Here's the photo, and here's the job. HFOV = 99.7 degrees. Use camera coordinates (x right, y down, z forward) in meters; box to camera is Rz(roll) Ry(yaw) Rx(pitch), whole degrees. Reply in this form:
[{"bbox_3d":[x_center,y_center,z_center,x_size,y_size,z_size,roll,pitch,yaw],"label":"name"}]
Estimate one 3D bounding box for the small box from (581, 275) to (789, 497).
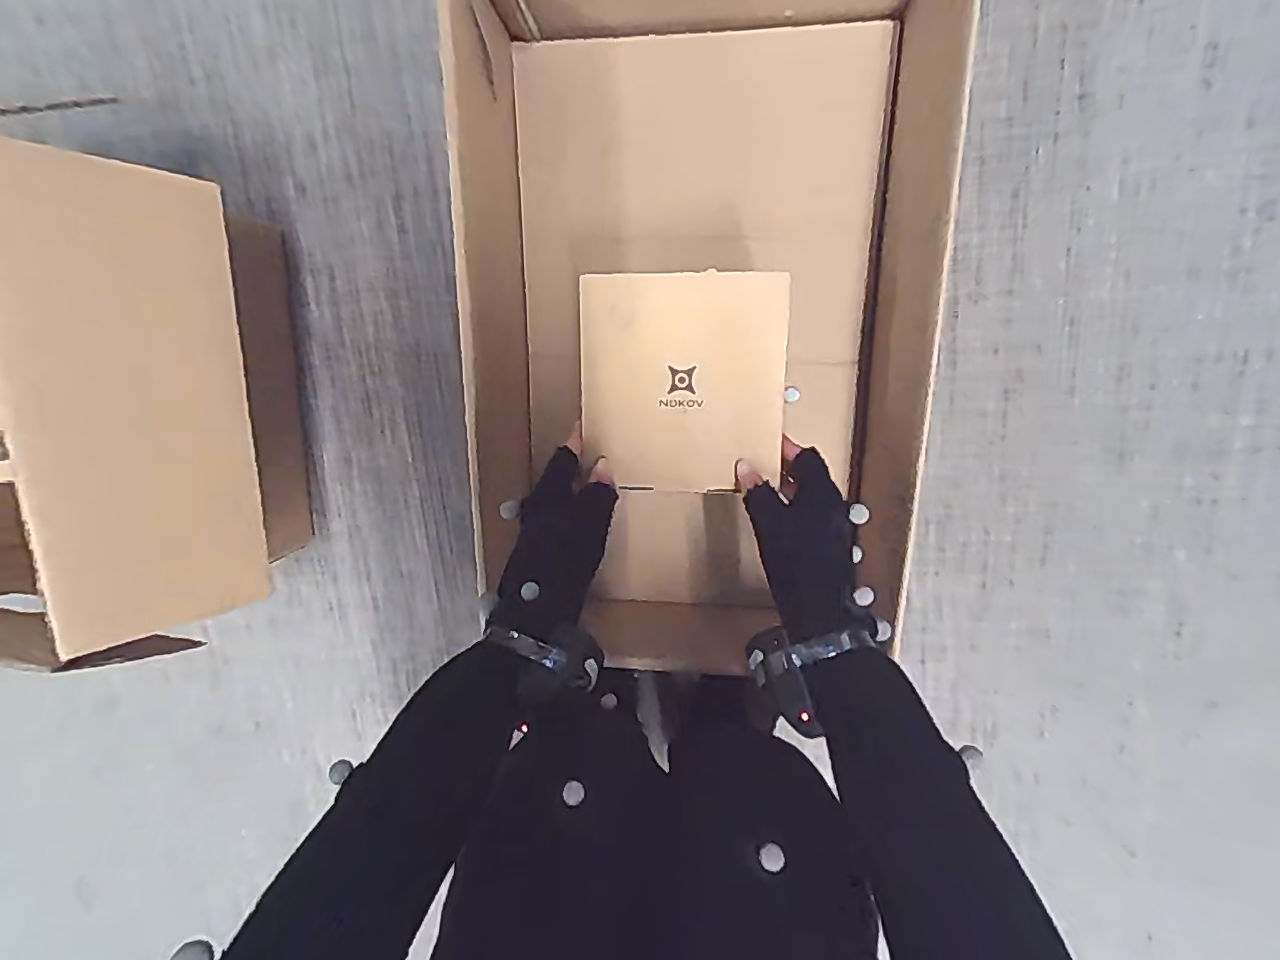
[{"bbox_3d":[0.041,-0.088,0.514,0.168,0.176,0.179,1,102,7],"label":"small box"}]
